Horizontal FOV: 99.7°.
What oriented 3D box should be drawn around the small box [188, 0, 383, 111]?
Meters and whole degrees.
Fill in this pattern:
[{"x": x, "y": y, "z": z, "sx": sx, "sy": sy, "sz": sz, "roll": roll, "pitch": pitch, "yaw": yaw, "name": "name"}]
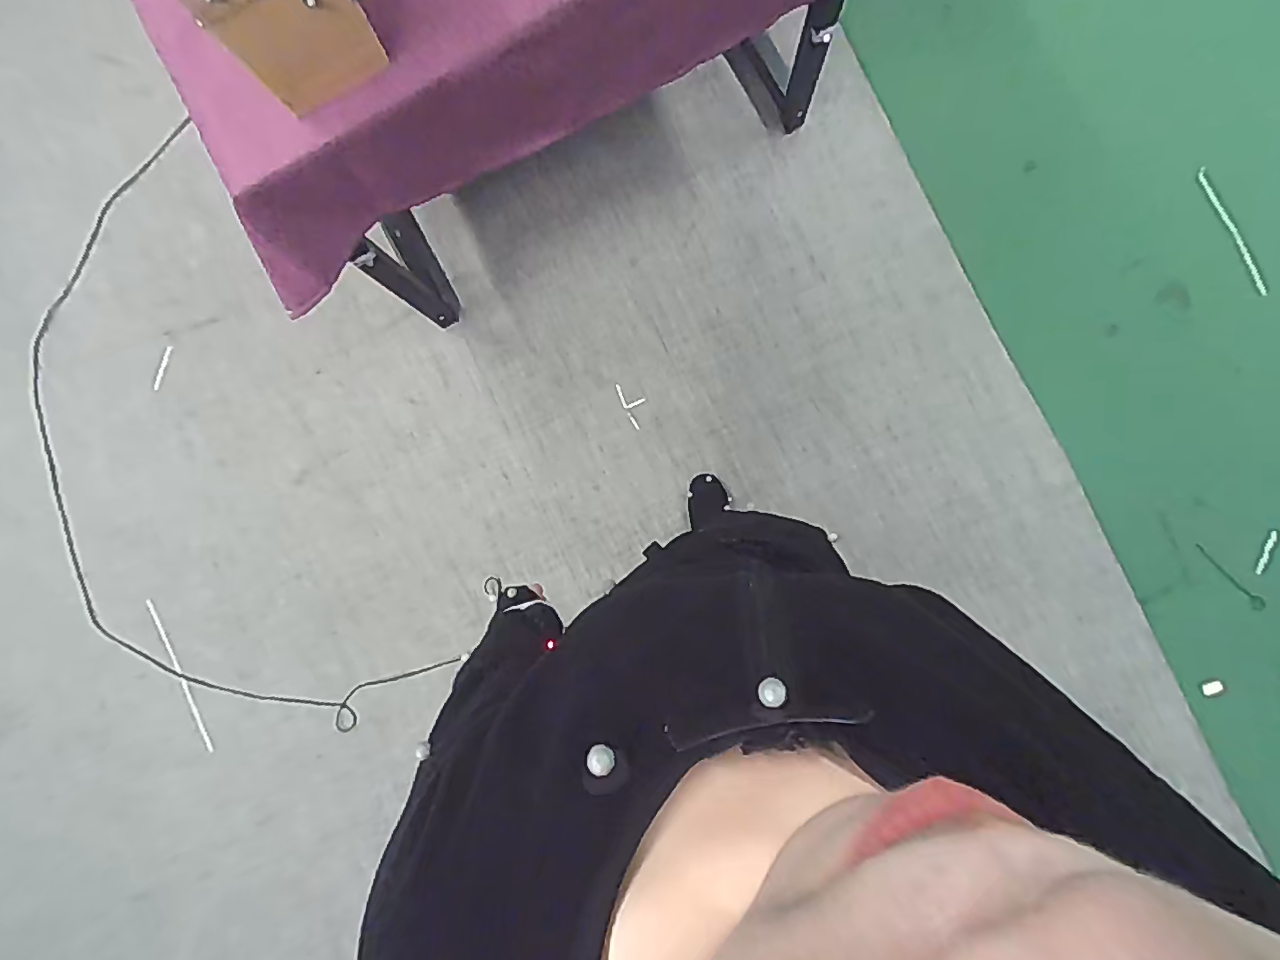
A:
[{"x": -0.504, "y": -0.673, "z": 0.756, "sx": 0.179, "sy": 0.176, "sz": 0.168, "roll": -28, "pitch": 86, "yaw": 1, "name": "small box"}]
